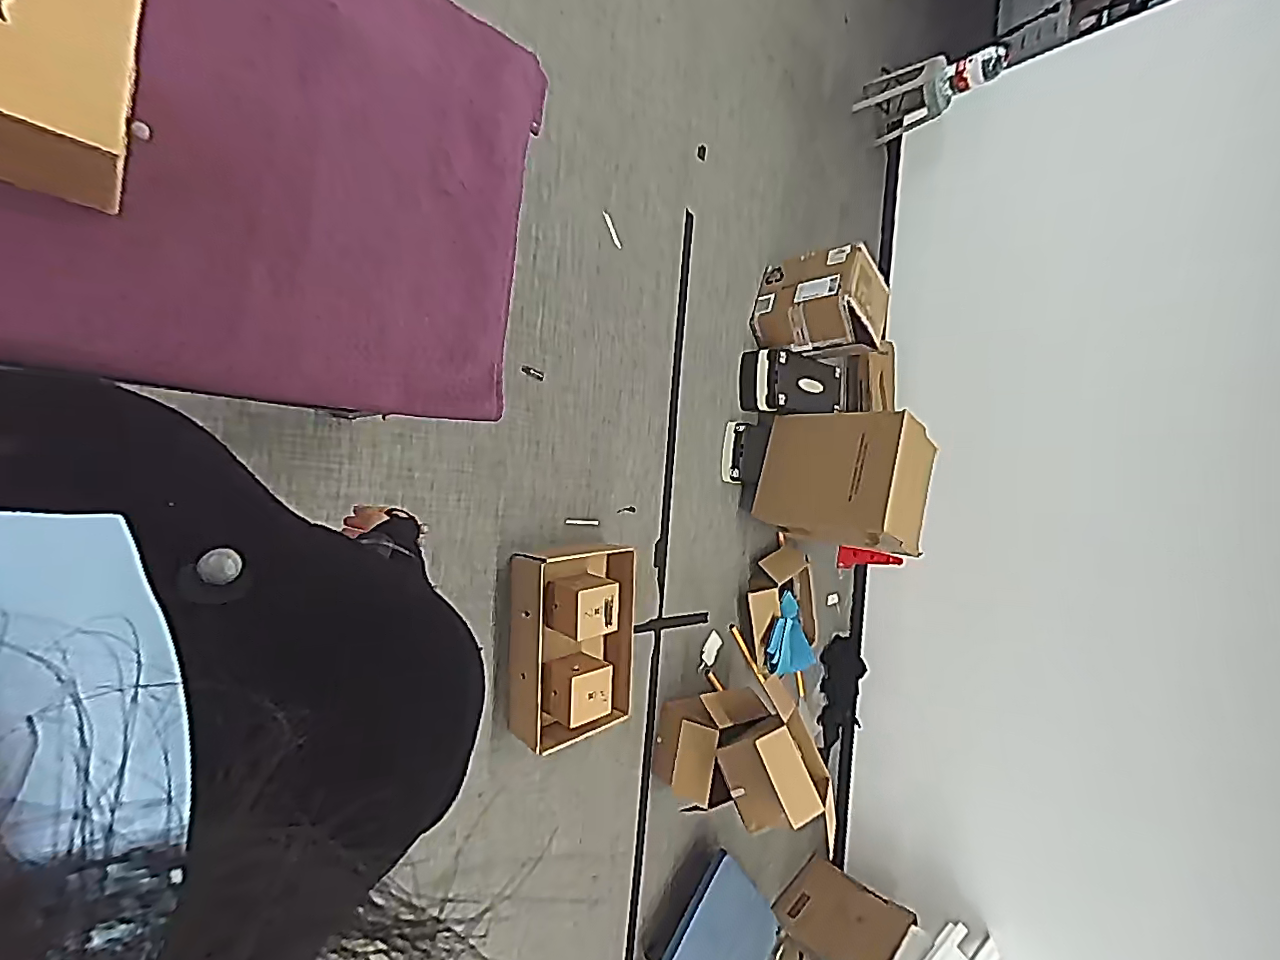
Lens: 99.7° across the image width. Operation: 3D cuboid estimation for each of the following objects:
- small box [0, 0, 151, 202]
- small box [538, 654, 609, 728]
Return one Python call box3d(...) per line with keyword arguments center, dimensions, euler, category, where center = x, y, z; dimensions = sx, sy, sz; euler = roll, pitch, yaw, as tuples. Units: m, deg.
box3d(center=(-0.551, -0.368, 0.465), dimensions=(0.179, 0.176, 0.168), euler=(7, 88, -44), category="small box")
box3d(center=(-0.225, 0.700, 1.814), dimensions=(0.179, 0.176, 0.168), euler=(1, 92, -46), category="small box")
